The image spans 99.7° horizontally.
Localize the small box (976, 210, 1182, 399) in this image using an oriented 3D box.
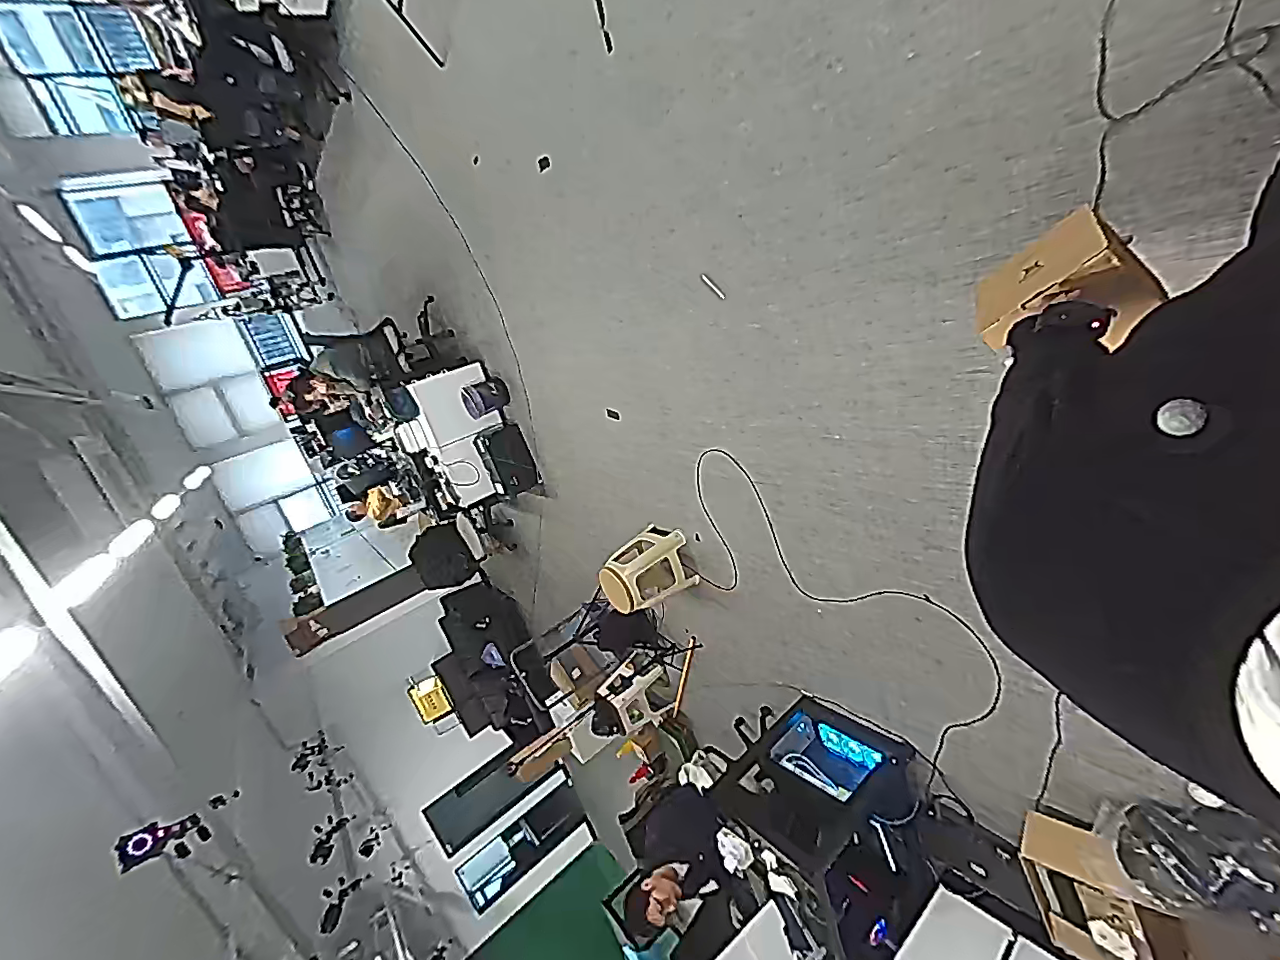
[{"bbox_3d":[0.620,-0.242,0.778,0.176,0.179,0.168,41,139,-8],"label":"small box"}]
